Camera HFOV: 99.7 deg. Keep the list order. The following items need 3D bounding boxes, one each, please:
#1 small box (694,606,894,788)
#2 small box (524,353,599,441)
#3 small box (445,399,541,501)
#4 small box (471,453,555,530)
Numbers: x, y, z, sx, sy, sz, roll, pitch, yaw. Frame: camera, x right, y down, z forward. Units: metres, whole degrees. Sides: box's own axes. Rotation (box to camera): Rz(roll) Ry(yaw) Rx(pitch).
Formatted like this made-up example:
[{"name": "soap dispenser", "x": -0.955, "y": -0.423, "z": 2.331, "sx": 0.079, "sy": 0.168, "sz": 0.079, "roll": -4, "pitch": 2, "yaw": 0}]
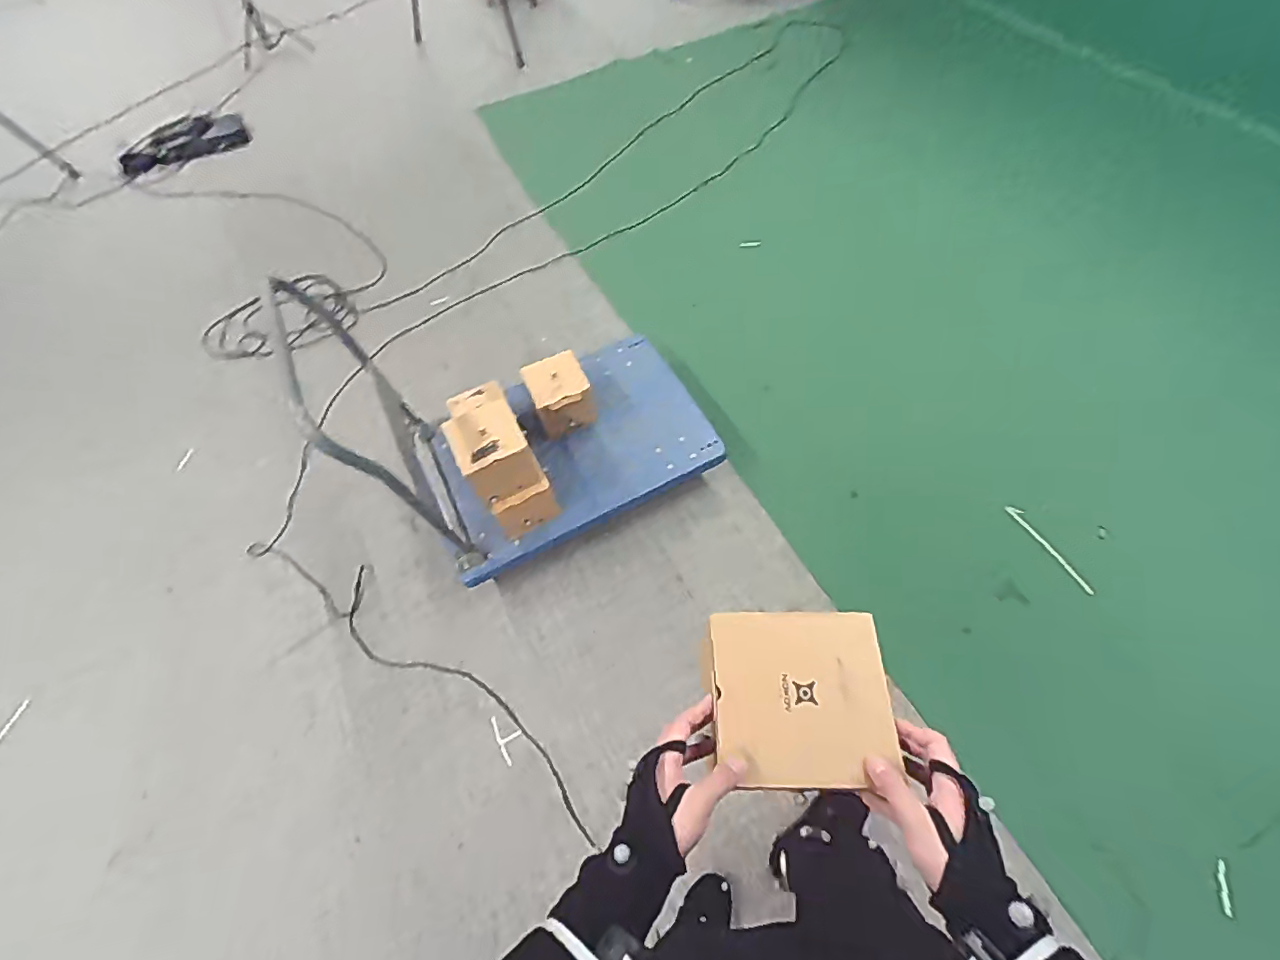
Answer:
[{"name": "small box", "x": 0.152, "y": 0.248, "z": 0.608, "sx": 0.179, "sy": 0.176, "sz": 0.168, "roll": -1, "pitch": 59, "yaw": 1}, {"name": "small box", "x": -0.239, "y": -0.254, "z": 1.668, "sx": 0.168, "sy": 0.176, "sz": 0.179, "roll": -23, "pitch": 62, "yaw": -9}, {"name": "small box", "x": -0.369, "y": -0.068, "z": 1.380, "sx": 0.168, "sy": 0.176, "sz": 0.179, "roll": -25, "pitch": 61, "yaw": -11}, {"name": "small box", "x": -0.349, "y": 0.035, "z": 1.519, "sx": 0.179, "sy": 0.176, "sz": 0.168, "roll": 1, "pitch": 62, "yaw": 5}]
